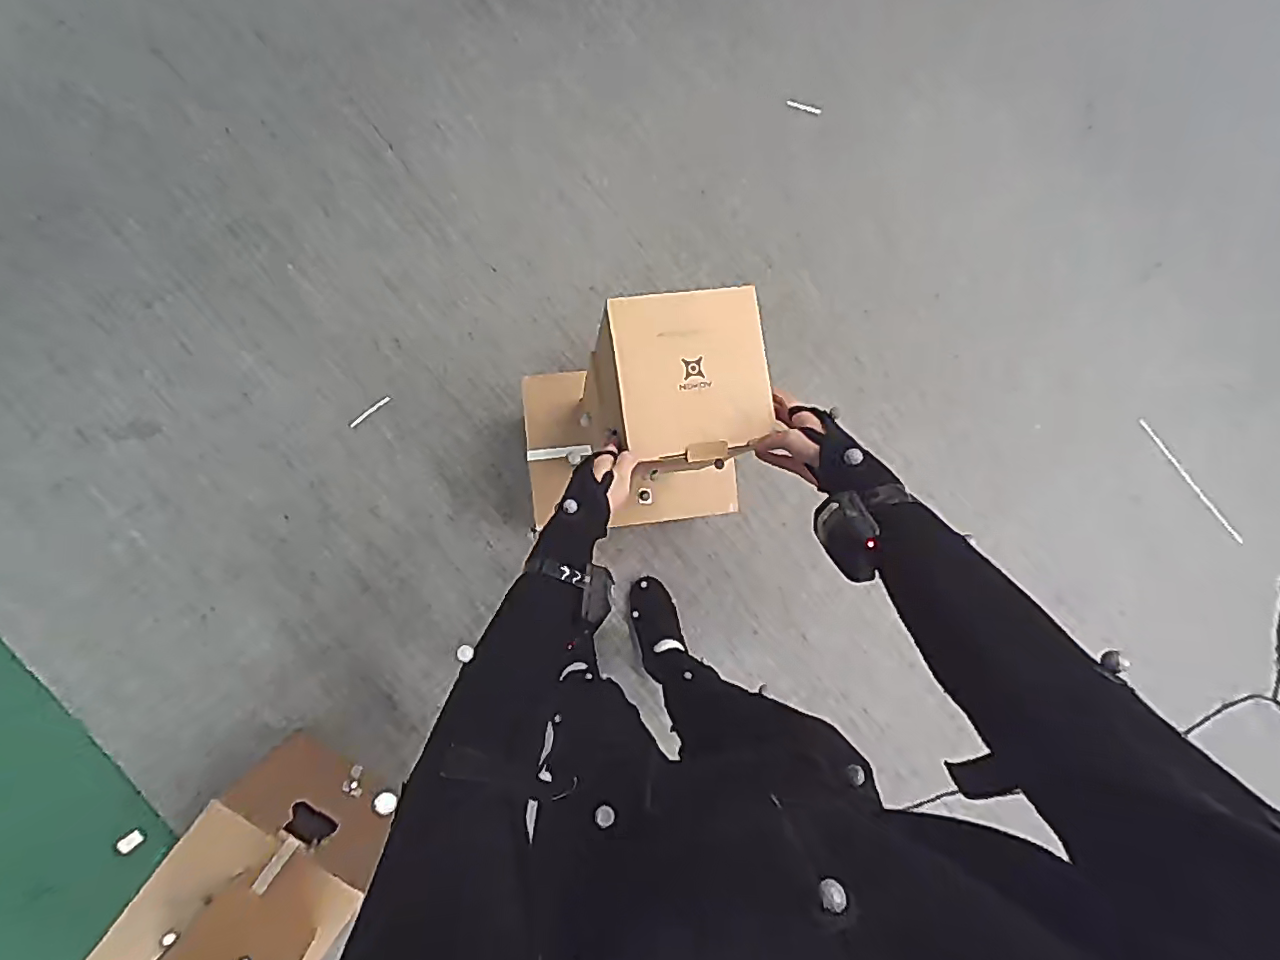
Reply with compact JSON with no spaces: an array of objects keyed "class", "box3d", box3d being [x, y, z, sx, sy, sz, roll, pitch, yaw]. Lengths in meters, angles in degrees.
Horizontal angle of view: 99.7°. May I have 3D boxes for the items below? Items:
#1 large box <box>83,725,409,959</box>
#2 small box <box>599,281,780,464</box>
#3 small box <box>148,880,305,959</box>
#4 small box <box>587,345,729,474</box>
[{"class":"large box","box3d":[-0.729,0.777,1.043,0.320,0.320,0.408,36,83,-3]},{"class":"small box","box3d":[0.047,-0.115,0.643,0.168,0.176,0.179,-8,88,-10]},{"class":"small box","box3d":[-0.652,0.758,0.807,0.179,0.176,0.168,42,81,-4]},{"class":"small box","box3d":[0.018,-0.101,0.804,0.179,0.176,0.168,-5,87,-8]}]
